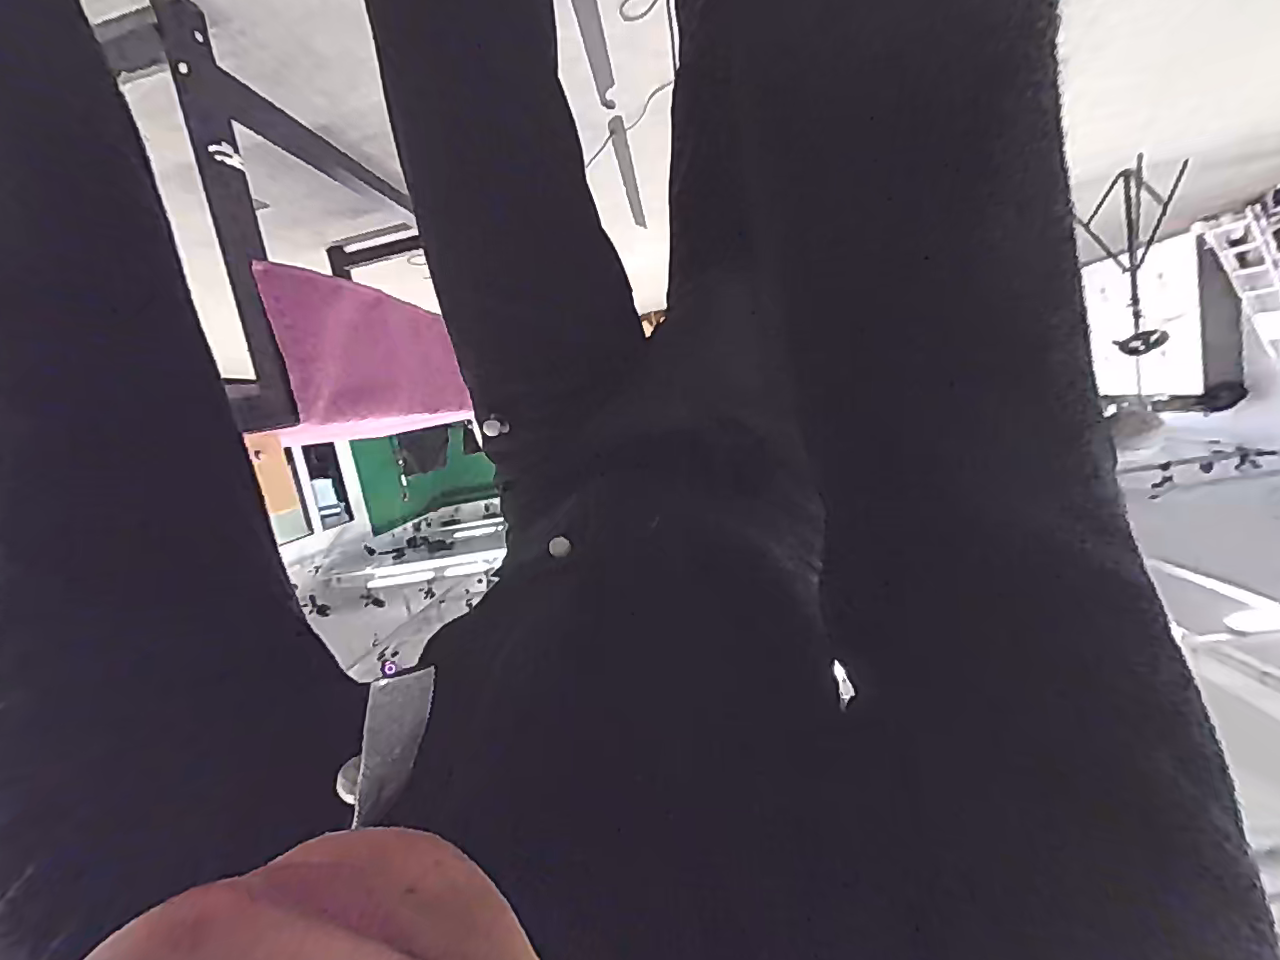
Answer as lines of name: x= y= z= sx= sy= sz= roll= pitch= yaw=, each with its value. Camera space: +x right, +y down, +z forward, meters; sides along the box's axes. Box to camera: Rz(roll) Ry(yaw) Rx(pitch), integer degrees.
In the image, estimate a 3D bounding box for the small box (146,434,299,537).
small box: x=-0.848 y=0.004 z=1.101 sx=0.179 sy=0.176 sz=0.168 roll=-9 pitch=-170 yaw=12
